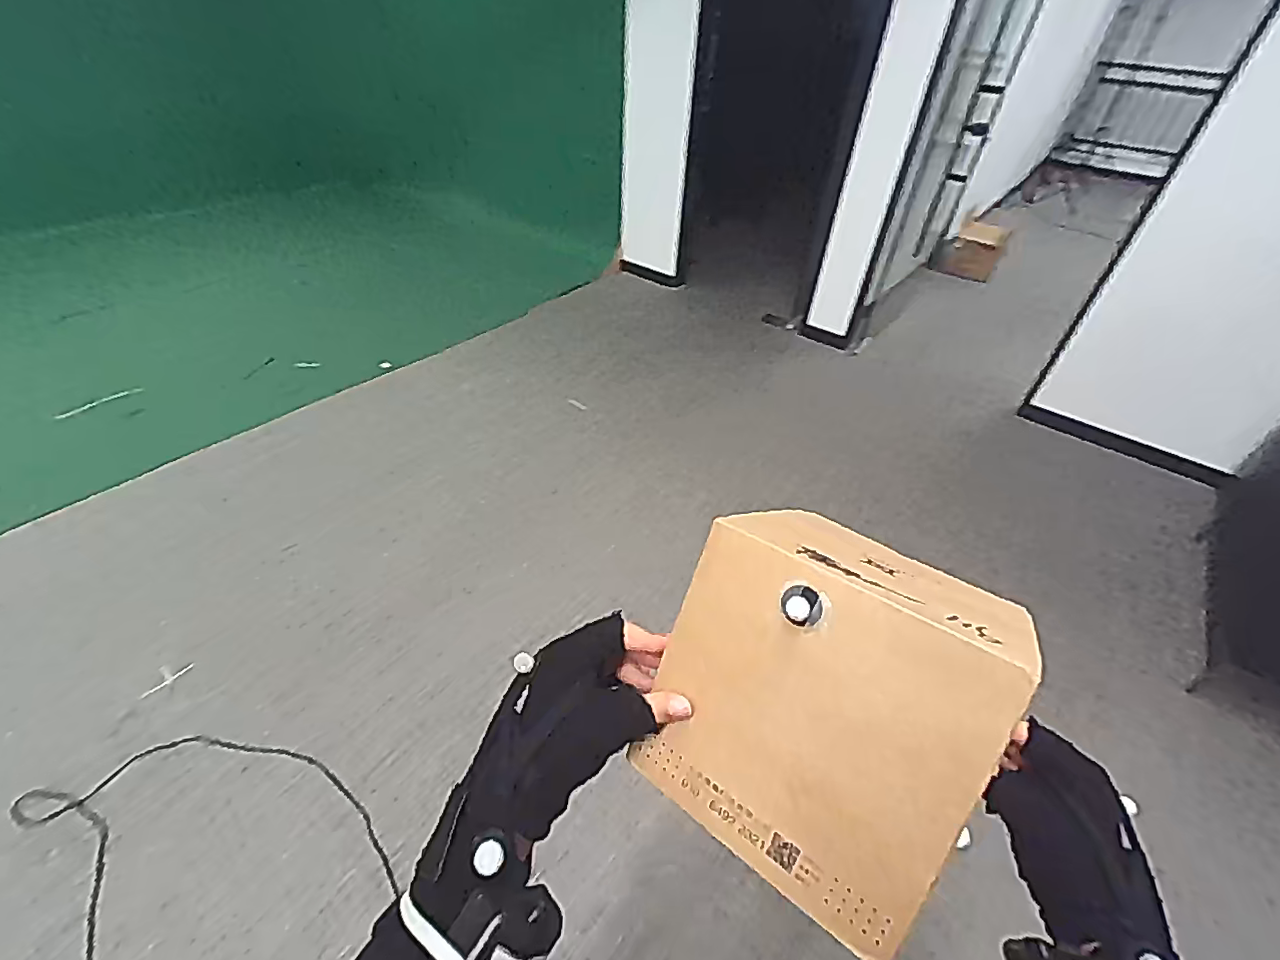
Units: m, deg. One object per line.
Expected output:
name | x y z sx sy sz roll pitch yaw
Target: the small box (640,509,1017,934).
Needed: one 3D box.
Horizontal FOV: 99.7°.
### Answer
small box | 0.124 0.129 0.363 0.168 0.176 0.179 25 11 32
